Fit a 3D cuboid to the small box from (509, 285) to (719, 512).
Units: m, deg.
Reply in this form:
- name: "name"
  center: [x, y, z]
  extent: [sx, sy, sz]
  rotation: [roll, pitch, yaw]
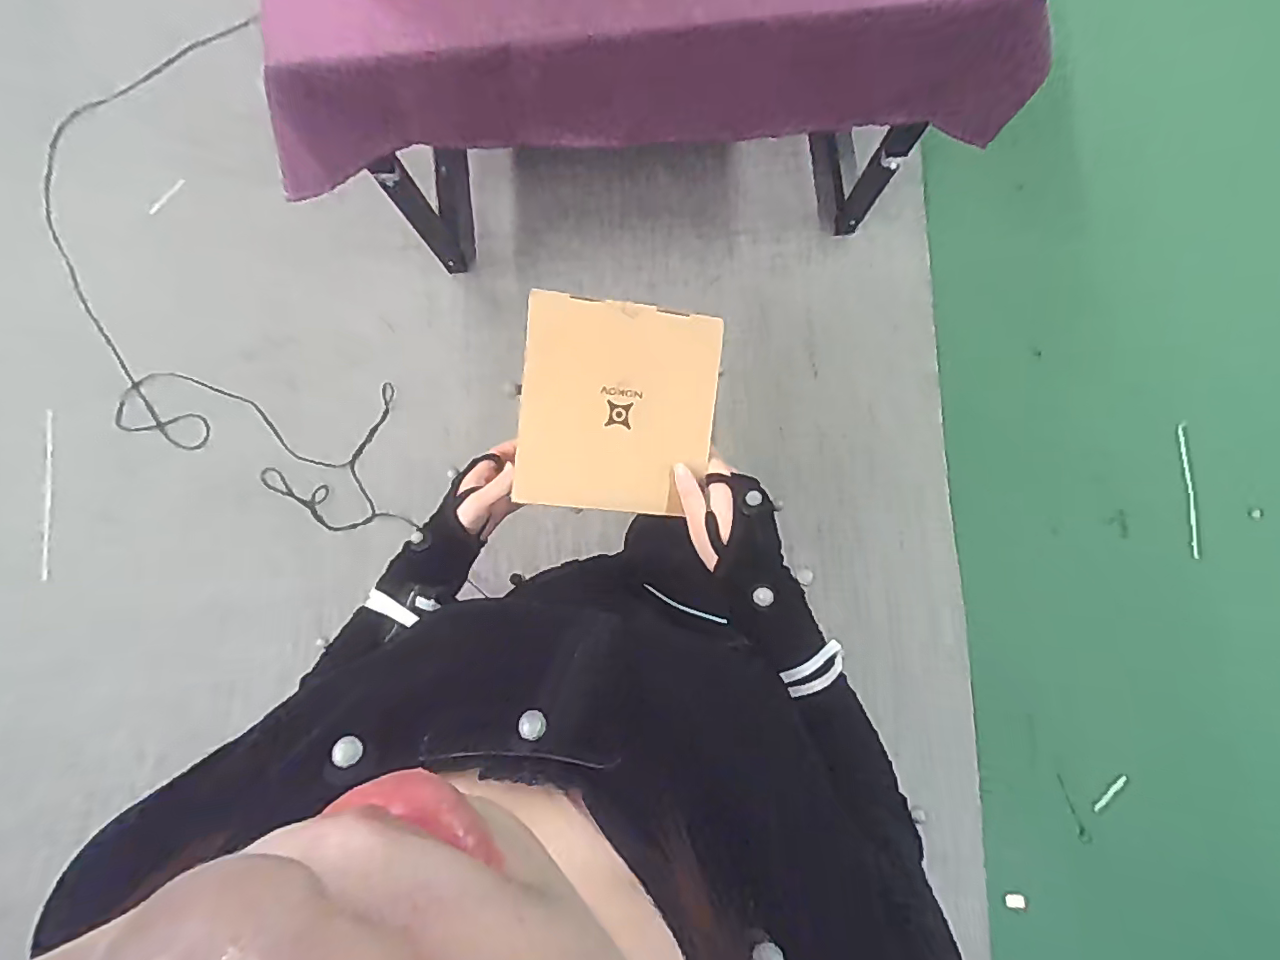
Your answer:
- name: "small box"
  center: [-0.035, -0.073, 0.537]
  extent: [0.168, 0.176, 0.179]
  rotation: [5, 94, -12]
